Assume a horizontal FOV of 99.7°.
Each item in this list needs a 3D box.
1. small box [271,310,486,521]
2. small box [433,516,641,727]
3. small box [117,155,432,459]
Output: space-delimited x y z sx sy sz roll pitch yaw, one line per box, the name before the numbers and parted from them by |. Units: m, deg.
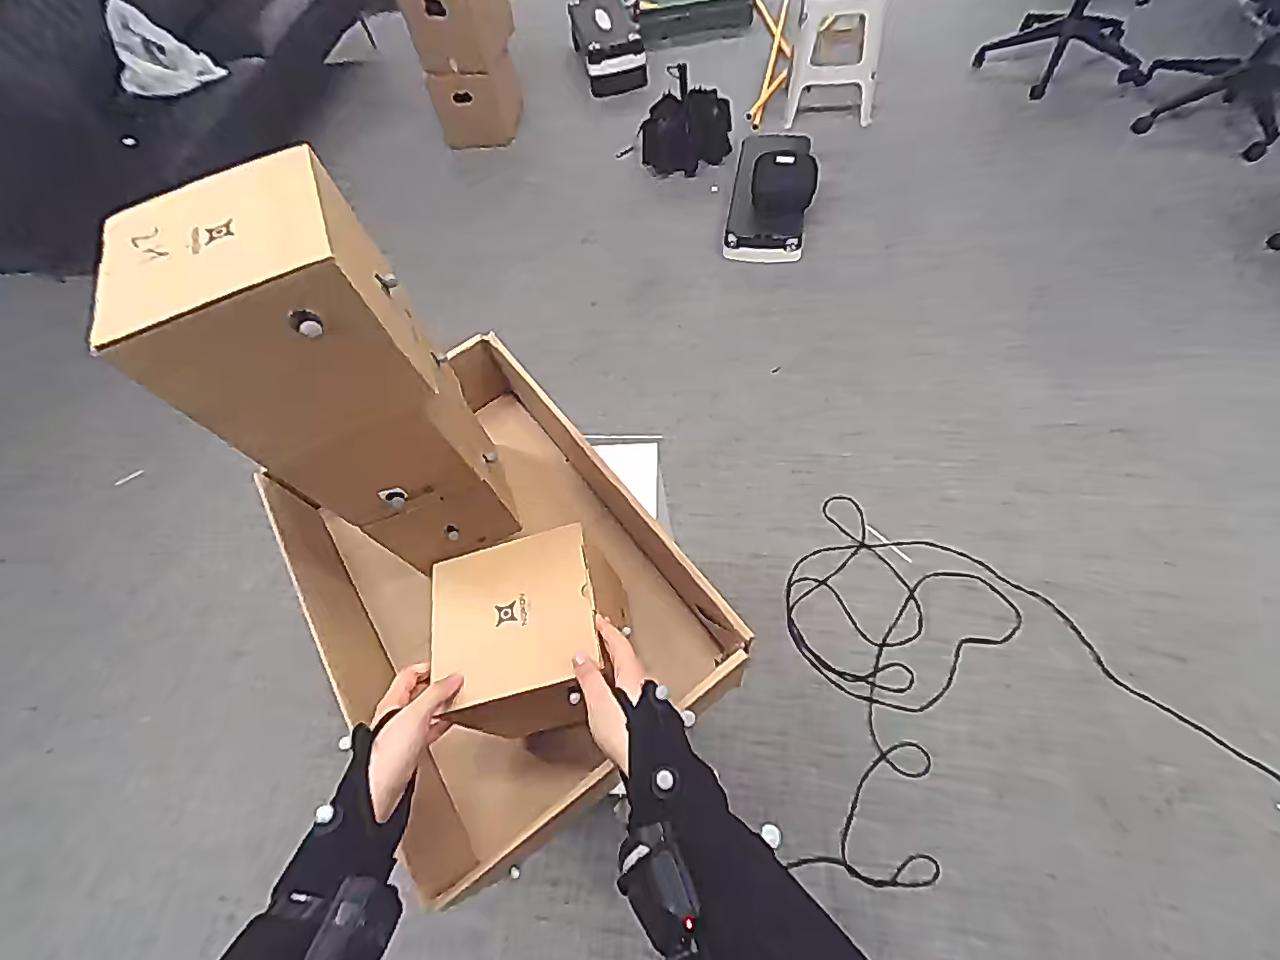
small box | -0.305 -0.079 0.649 0.168 0.176 0.179 -22 62 -2
small box | -0.113 0.170 0.622 0.179 0.176 0.168 -17 55 4
small box | -0.313 -0.150 0.499 0.179 0.176 0.168 -25 60 -4
